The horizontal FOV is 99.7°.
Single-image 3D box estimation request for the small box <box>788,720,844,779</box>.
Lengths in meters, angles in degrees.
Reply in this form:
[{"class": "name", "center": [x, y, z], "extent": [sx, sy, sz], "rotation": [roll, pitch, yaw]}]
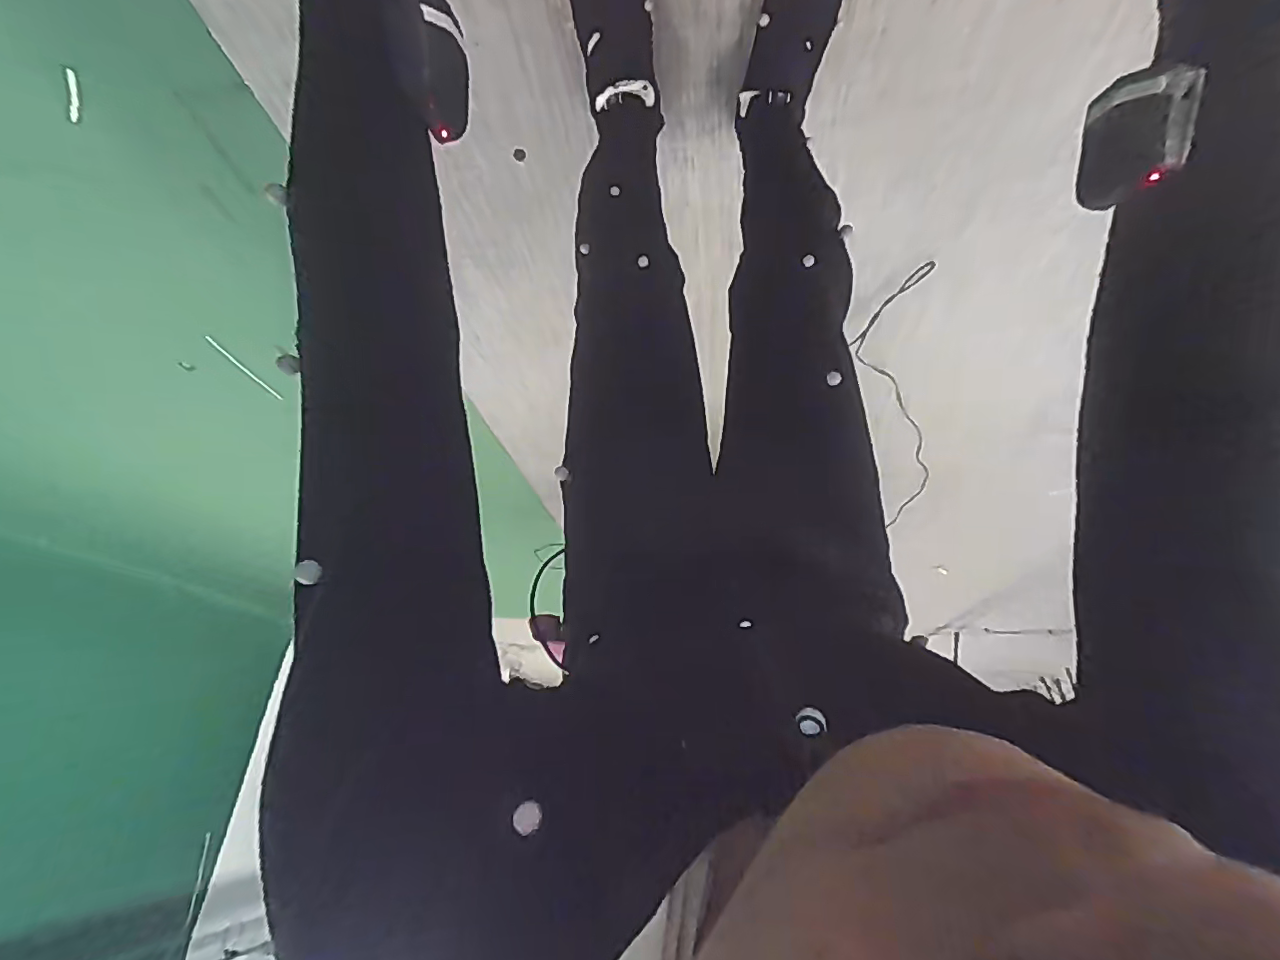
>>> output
[{"class": "small box", "center": [0.598, 0.917, 1.845], "extent": [0.168, 0.176, 0.179], "rotation": [-4, 151, 16]}]
